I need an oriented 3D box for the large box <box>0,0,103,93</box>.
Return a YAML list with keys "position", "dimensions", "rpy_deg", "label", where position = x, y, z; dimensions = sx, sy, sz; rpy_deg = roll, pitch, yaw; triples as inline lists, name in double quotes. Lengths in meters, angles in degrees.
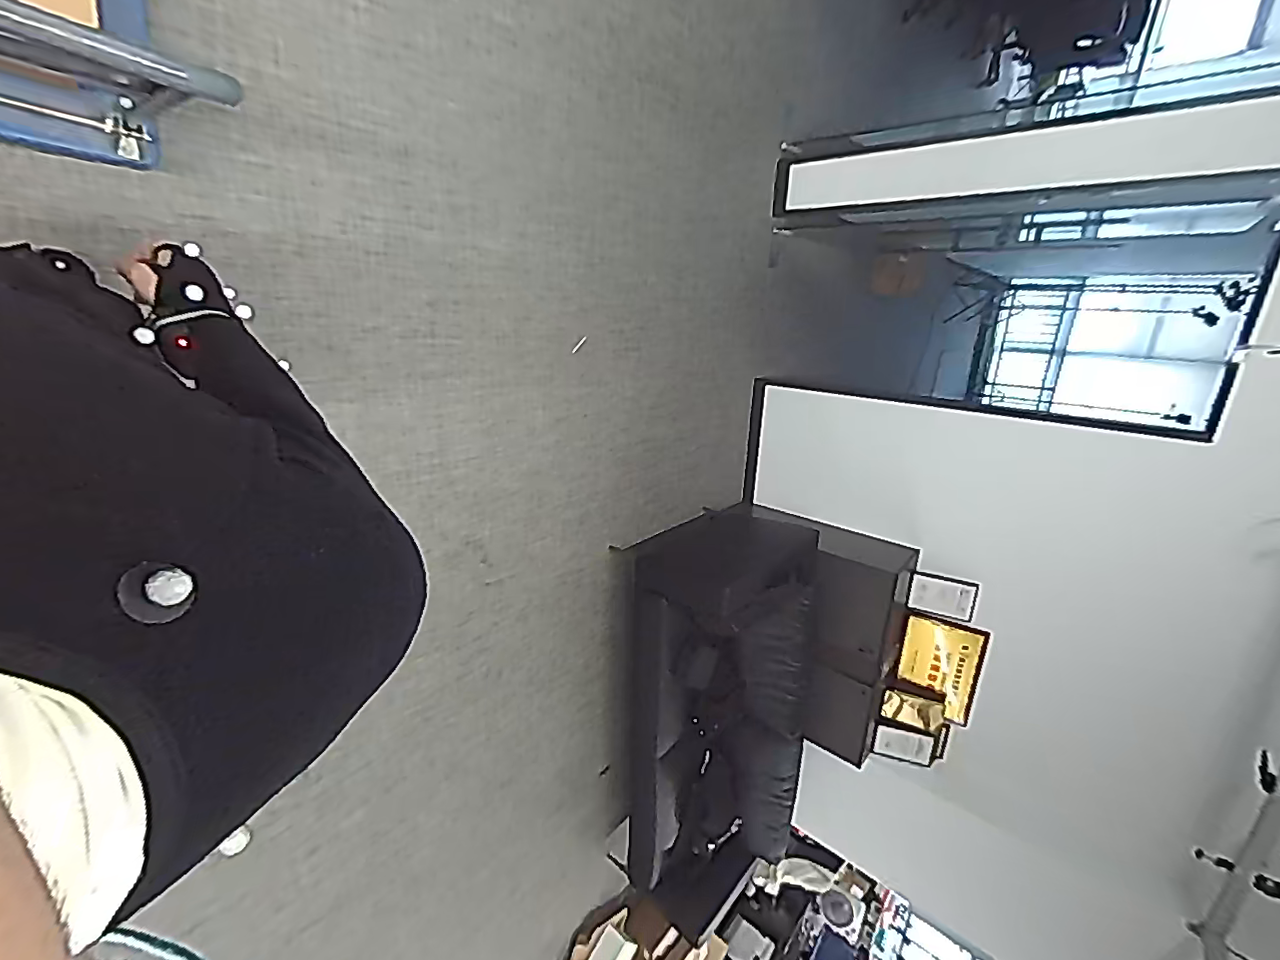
- position: [-0.963, -0.814, 0.699]
  dimensions: [0.320, 0.320, 0.408]
  rpy_deg: [-12, 111, -50]
  label: "large box"
